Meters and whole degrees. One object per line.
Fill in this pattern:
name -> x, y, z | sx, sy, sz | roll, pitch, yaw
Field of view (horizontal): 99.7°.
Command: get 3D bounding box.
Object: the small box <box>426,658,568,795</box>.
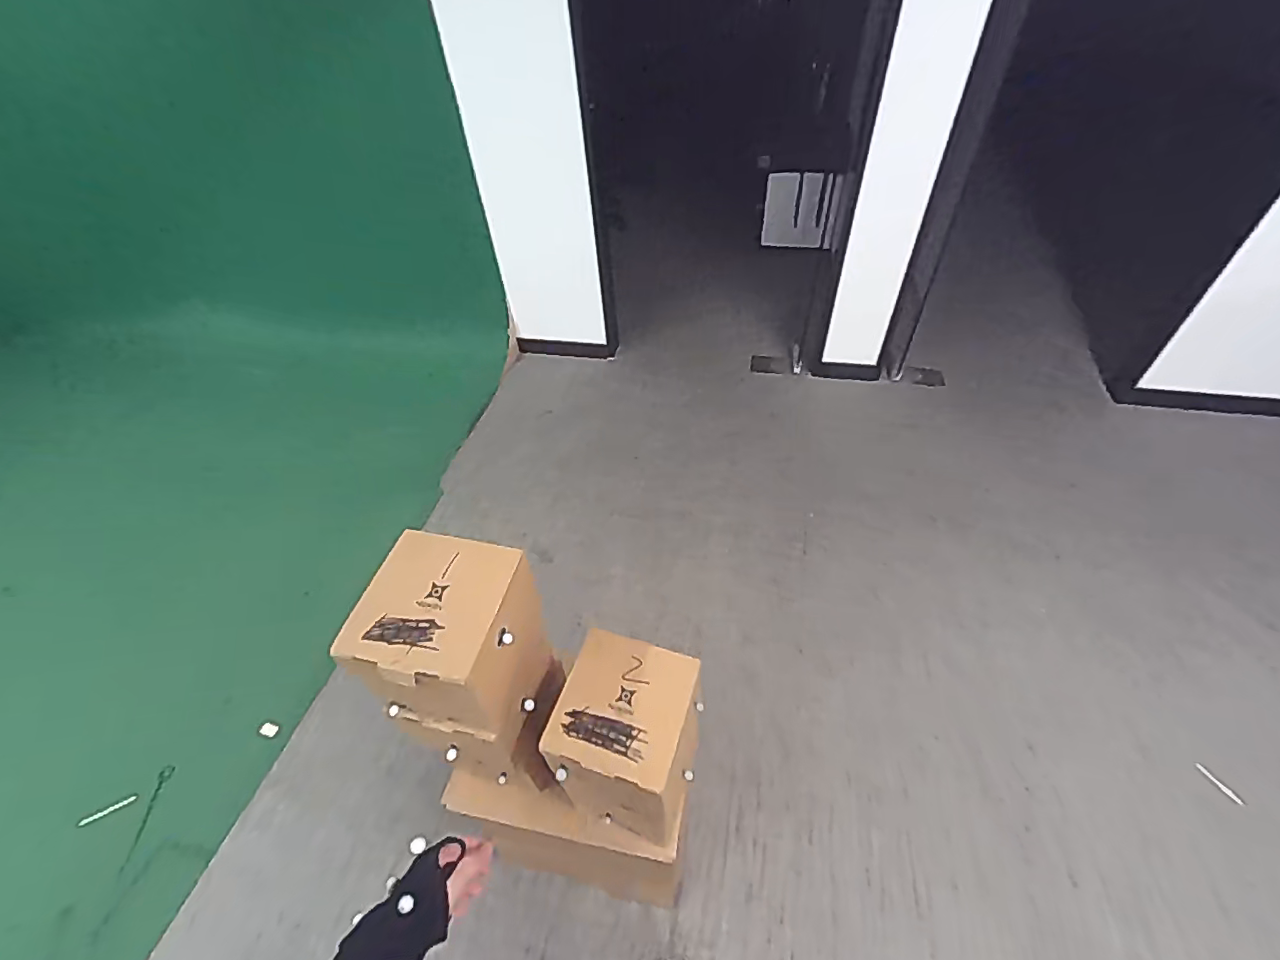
small box -> -0.232, 0.418, 0.935 | 0.168, 0.176, 0.179 | 10, 48, 10

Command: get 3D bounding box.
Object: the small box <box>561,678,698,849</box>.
small box -> -0.009, 0.460, 0.878 | 0.168, 0.176, 0.179 | 12, 49, 16

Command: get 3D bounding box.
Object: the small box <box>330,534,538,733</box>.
small box -> -0.241, 0.198, 0.691 | 0.168, 0.176, 0.179 | 9, 47, 9
